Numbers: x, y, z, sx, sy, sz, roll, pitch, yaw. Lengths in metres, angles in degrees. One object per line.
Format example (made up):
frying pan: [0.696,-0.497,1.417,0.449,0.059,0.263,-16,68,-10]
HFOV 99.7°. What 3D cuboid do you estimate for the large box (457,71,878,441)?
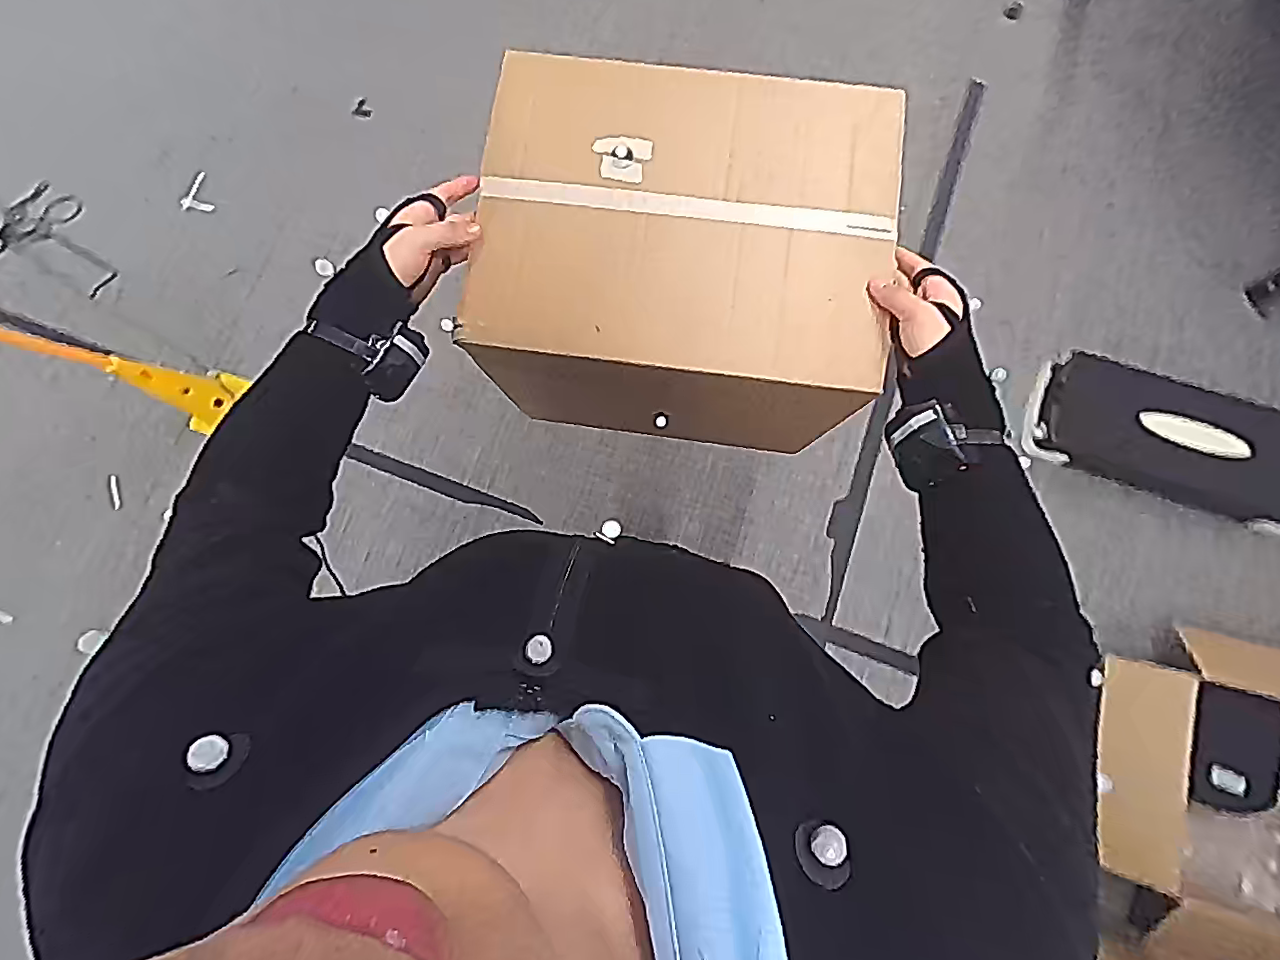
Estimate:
large box: [0.038,-0.240,0.685,0.408,0.320,0.320,6,81,2]
